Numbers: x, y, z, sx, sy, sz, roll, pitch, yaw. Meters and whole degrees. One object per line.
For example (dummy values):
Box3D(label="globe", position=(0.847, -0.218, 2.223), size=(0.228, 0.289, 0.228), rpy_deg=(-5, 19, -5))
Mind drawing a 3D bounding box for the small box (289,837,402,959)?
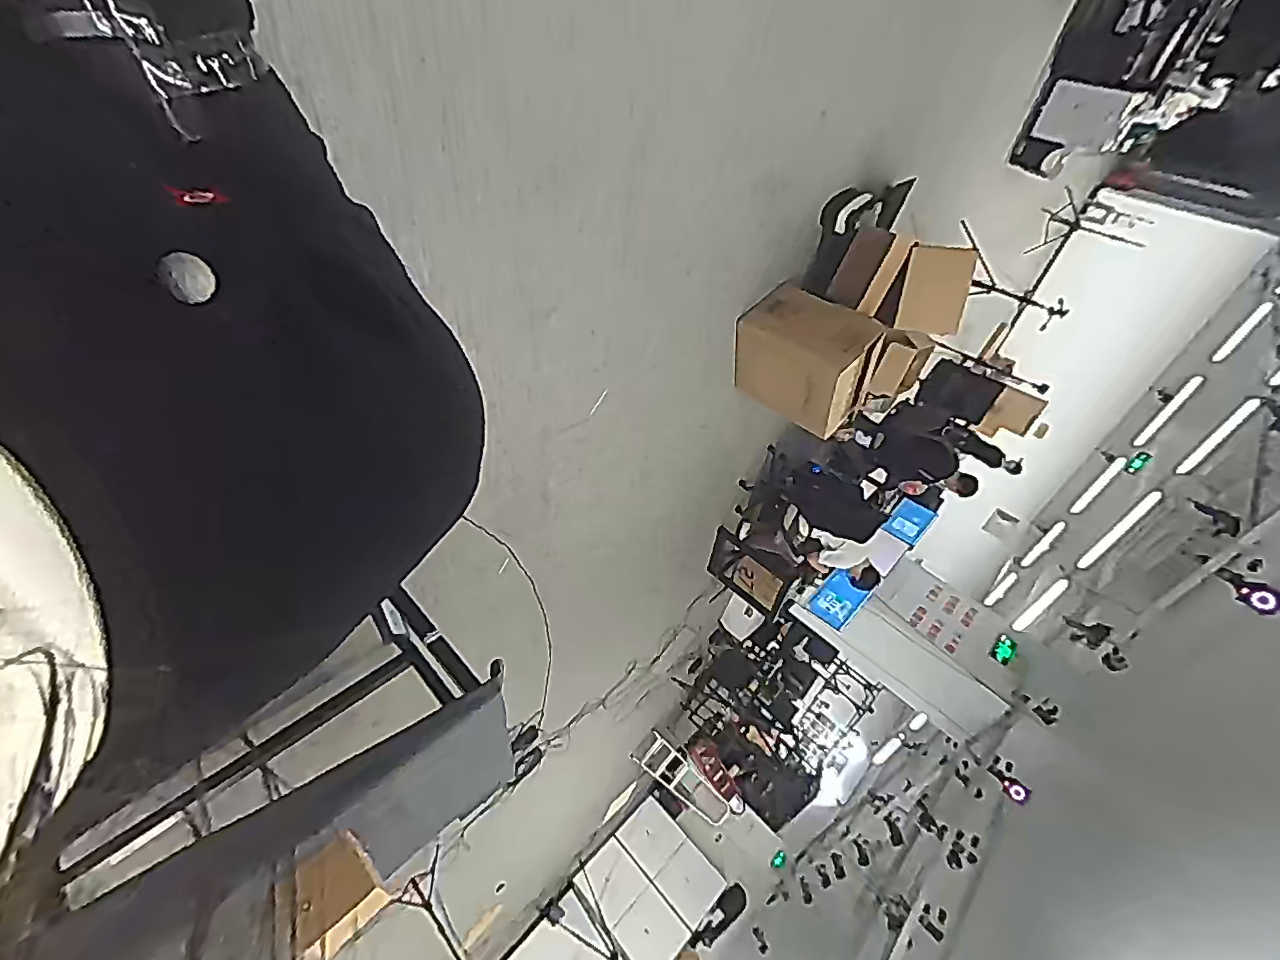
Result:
Box3D(label="small box", position=(-0.719, 1.025, 1.316), size=(0.179, 0.176, 0.168), rpy_deg=(-35, 148, -34))
